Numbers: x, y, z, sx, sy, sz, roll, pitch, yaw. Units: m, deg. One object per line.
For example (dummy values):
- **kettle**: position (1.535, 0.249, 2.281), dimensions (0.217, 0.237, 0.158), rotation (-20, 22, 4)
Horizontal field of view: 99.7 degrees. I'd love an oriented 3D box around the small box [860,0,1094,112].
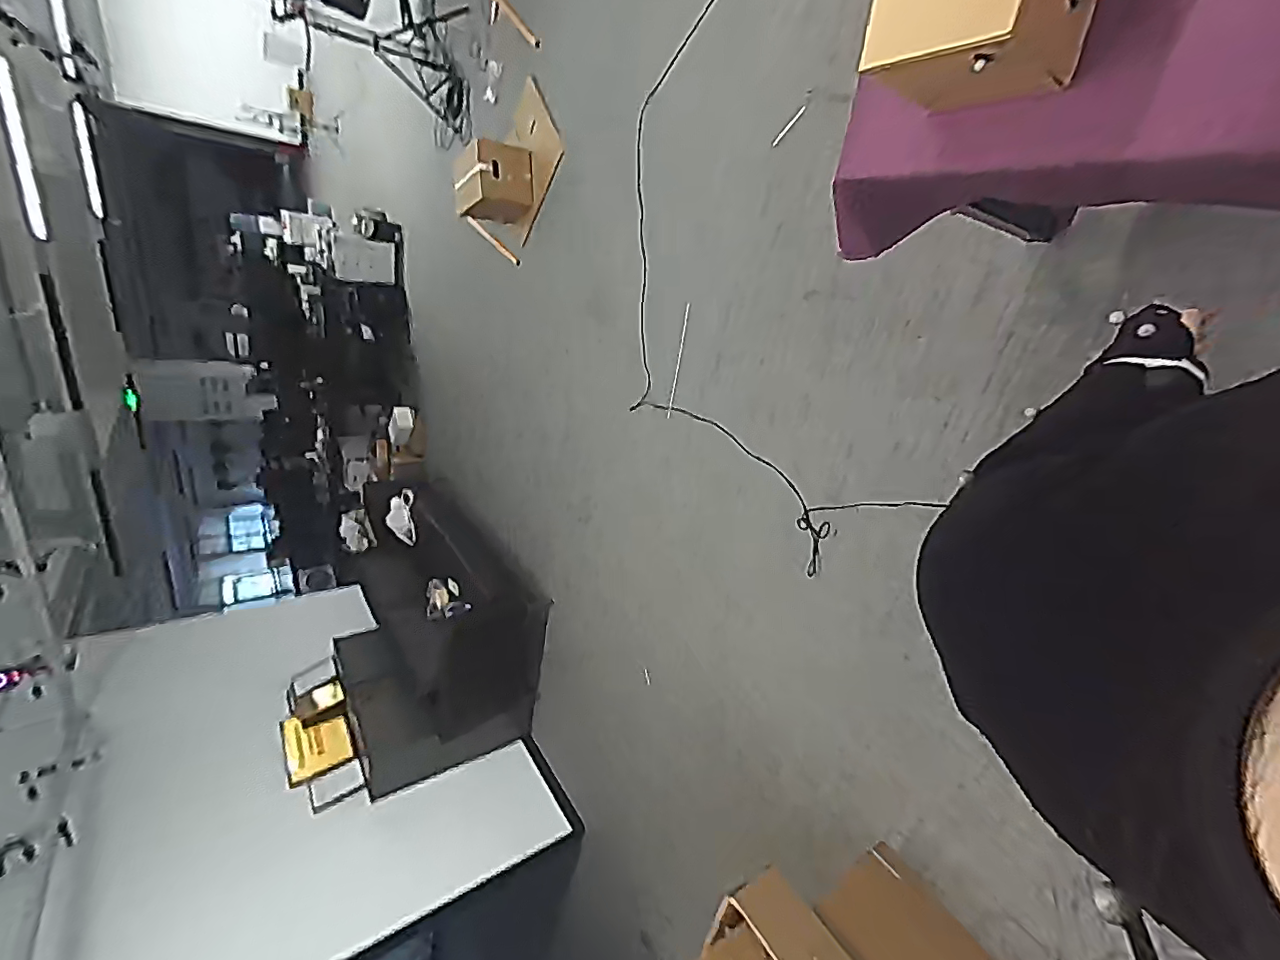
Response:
- **small box**: position (0.399, -0.558, 0.631), dimensions (0.179, 0.176, 0.168), rotation (29, 118, 47)
